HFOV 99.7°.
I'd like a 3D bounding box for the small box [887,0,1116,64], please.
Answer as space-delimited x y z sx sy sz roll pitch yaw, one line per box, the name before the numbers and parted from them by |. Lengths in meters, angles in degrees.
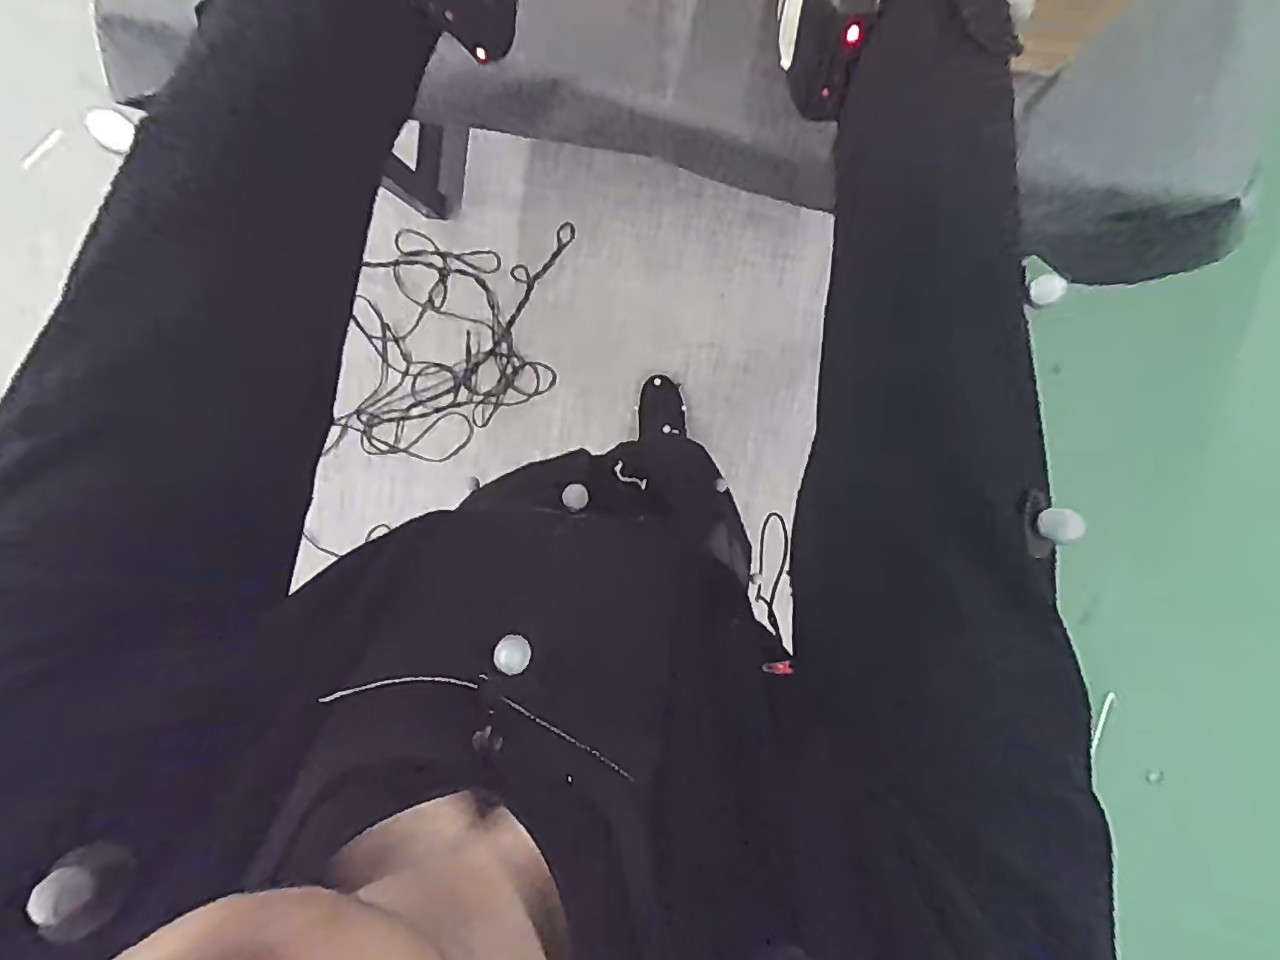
small box | 0.333 -0.488 0.444 0.179 0.176 0.168 13 100 1
